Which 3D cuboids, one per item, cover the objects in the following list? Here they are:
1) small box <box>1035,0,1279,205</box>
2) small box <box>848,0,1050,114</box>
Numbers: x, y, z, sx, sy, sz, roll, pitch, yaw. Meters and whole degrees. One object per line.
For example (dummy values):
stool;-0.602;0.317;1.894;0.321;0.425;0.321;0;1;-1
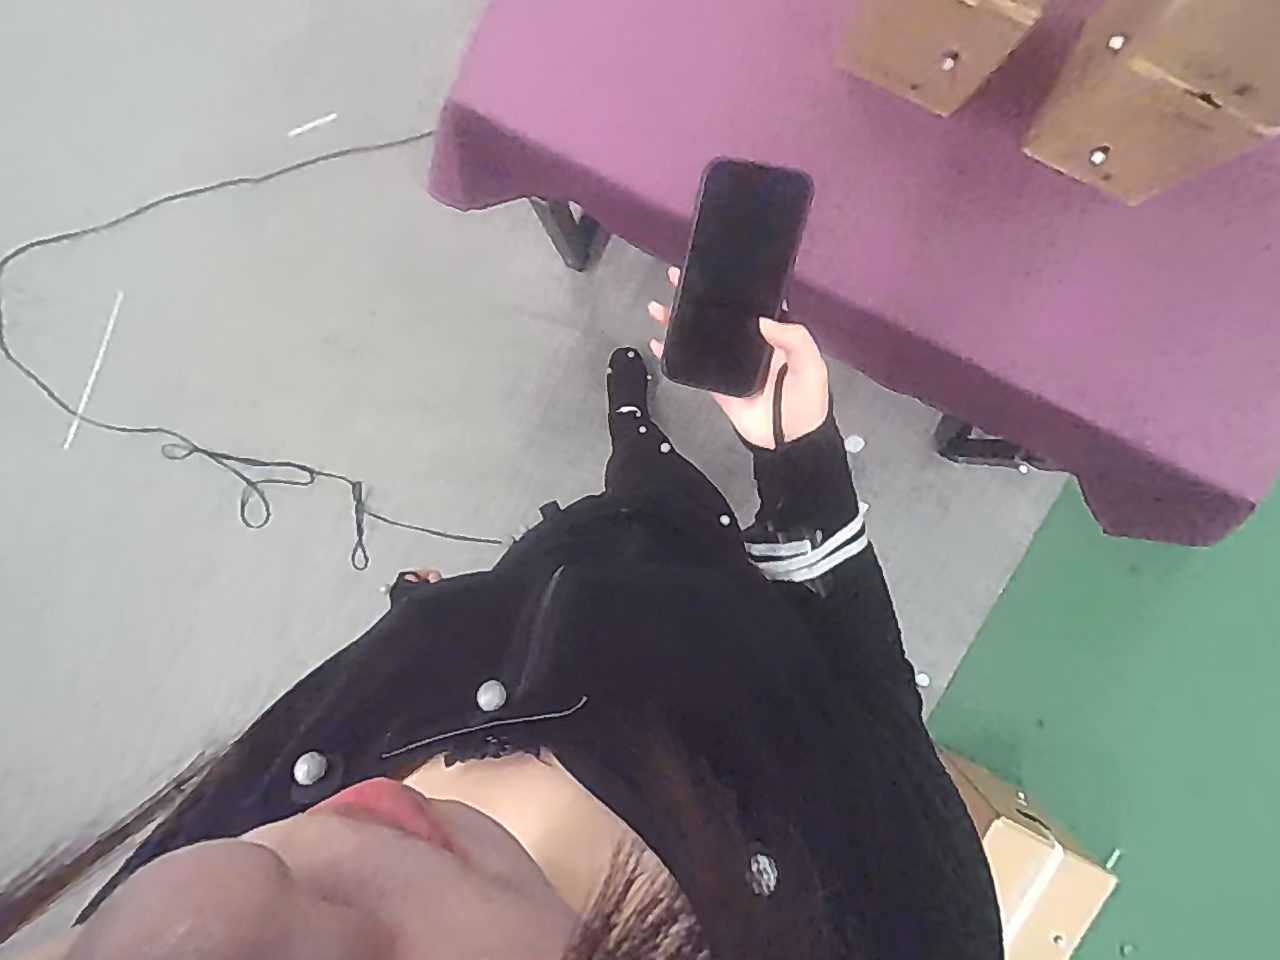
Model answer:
small box;0.601;-0.453;0.606;0.168;0.176;0.179;26;96;0
small box;0.360;-0.564;0.605;0.168;0.176;0.179;26;95;-1
